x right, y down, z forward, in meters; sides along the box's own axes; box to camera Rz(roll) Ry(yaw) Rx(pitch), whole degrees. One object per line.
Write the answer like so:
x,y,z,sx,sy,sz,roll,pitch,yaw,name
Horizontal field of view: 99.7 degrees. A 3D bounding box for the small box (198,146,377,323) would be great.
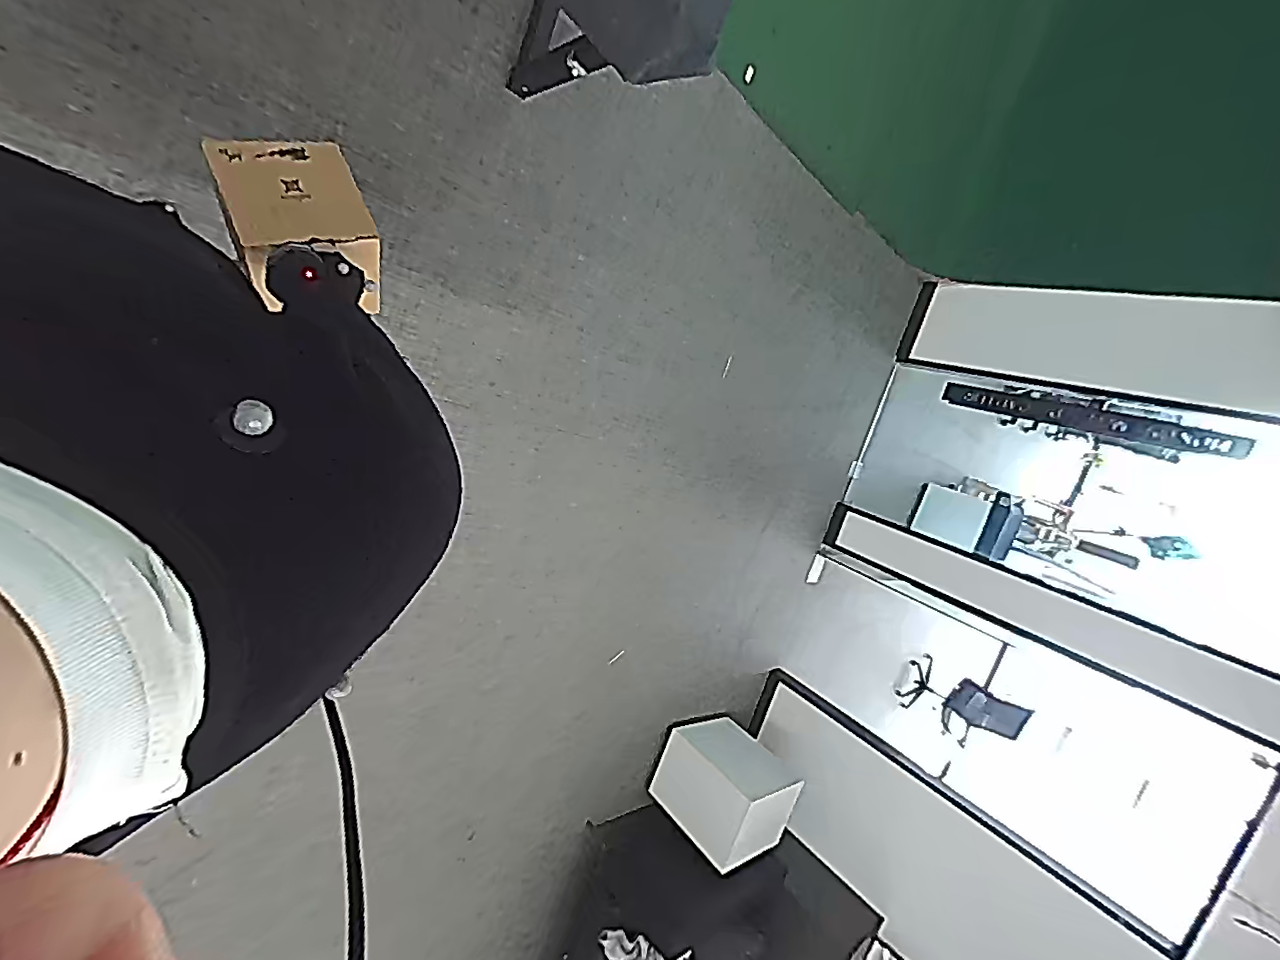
-0.505,-0.353,0.801,0.168,0.176,0.179,-24,80,-31,small box
